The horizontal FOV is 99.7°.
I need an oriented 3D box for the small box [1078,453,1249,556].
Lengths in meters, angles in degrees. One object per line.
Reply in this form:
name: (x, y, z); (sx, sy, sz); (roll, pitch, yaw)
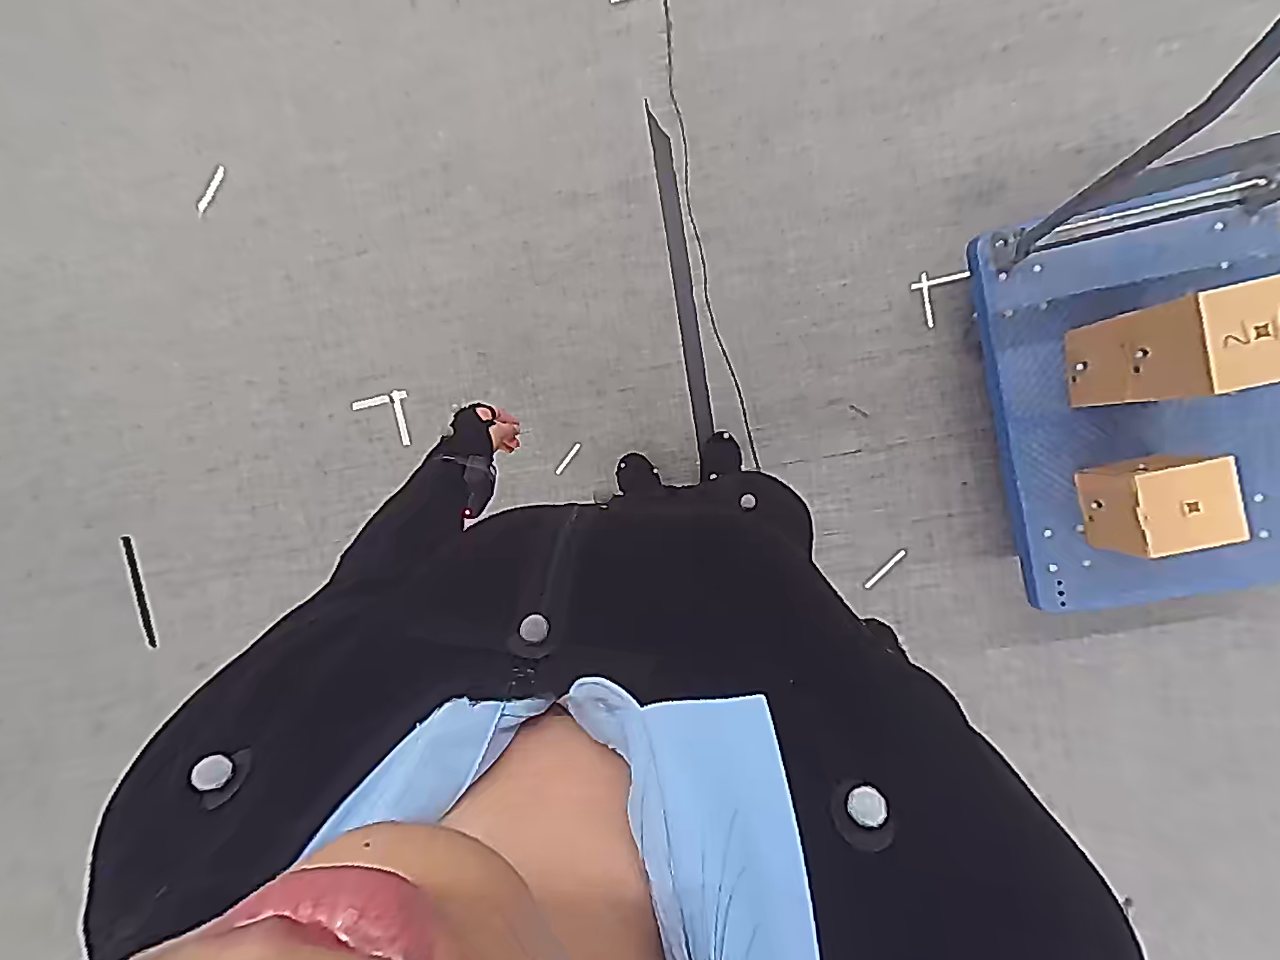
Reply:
small box: (1.054, 0.043, 1.102); (0.179, 0.176, 0.168); (-14, 92, 8)

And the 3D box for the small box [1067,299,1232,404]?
small box: (1.009, -0.249, 1.084); (0.179, 0.176, 0.168); (-7, 93, 8)
